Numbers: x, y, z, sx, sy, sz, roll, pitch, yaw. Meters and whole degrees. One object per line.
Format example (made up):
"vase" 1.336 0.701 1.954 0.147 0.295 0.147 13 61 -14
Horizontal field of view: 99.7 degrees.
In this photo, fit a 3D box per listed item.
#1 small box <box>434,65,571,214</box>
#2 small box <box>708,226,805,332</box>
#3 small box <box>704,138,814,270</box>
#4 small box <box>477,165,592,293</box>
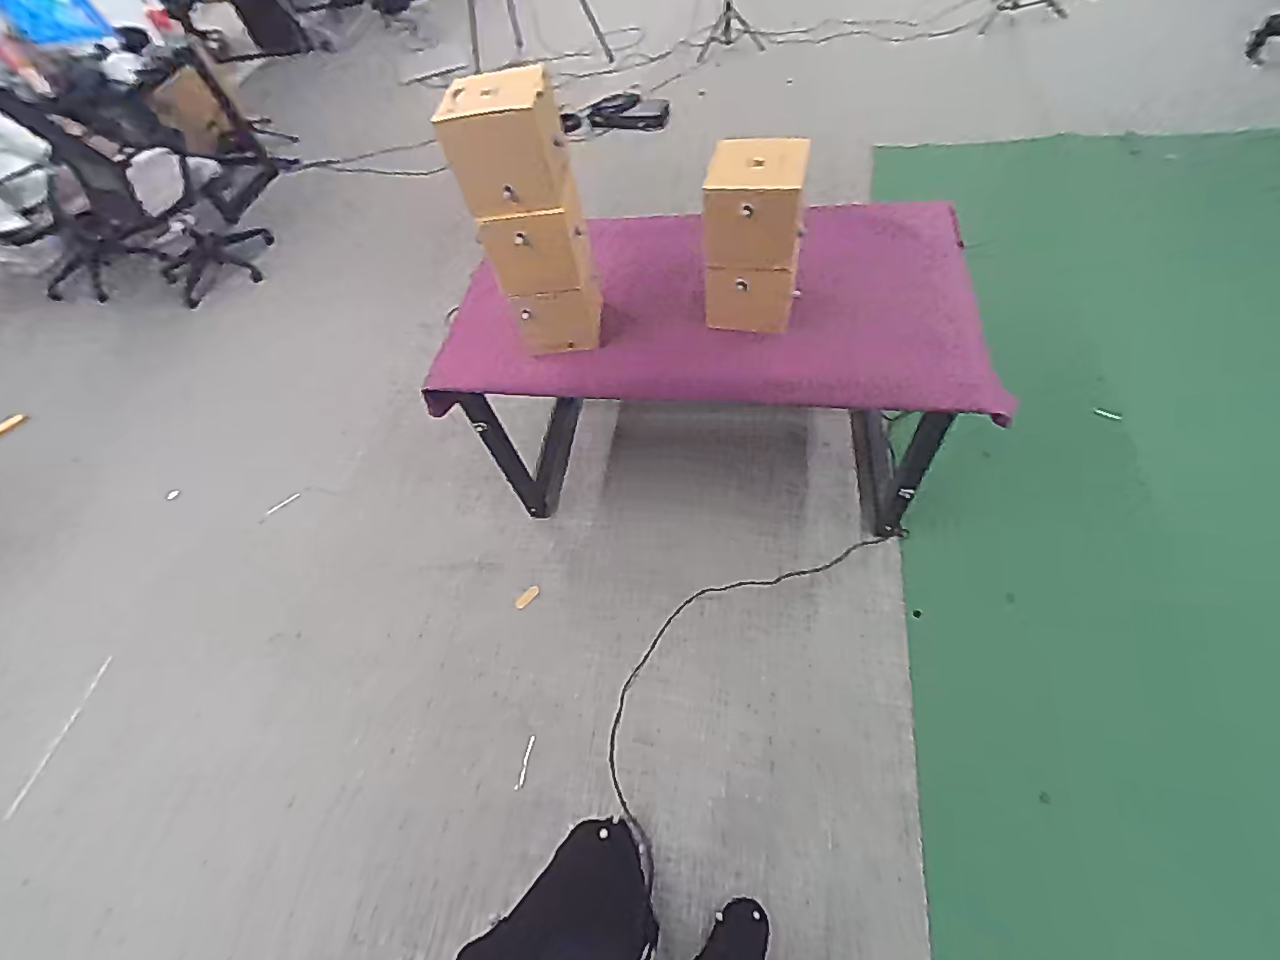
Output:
"small box" -0.232 -0.604 0.970 0.179 0.176 0.168 -1 56 8
"small box" 0.252 -0.444 1.181 0.179 0.176 0.168 10 60 15
"small box" 0.228 -0.528 1.043 0.179 0.176 0.168 9 61 15
"small box" -0.202 -0.501 1.095 0.179 0.176 0.168 -3 56 9
